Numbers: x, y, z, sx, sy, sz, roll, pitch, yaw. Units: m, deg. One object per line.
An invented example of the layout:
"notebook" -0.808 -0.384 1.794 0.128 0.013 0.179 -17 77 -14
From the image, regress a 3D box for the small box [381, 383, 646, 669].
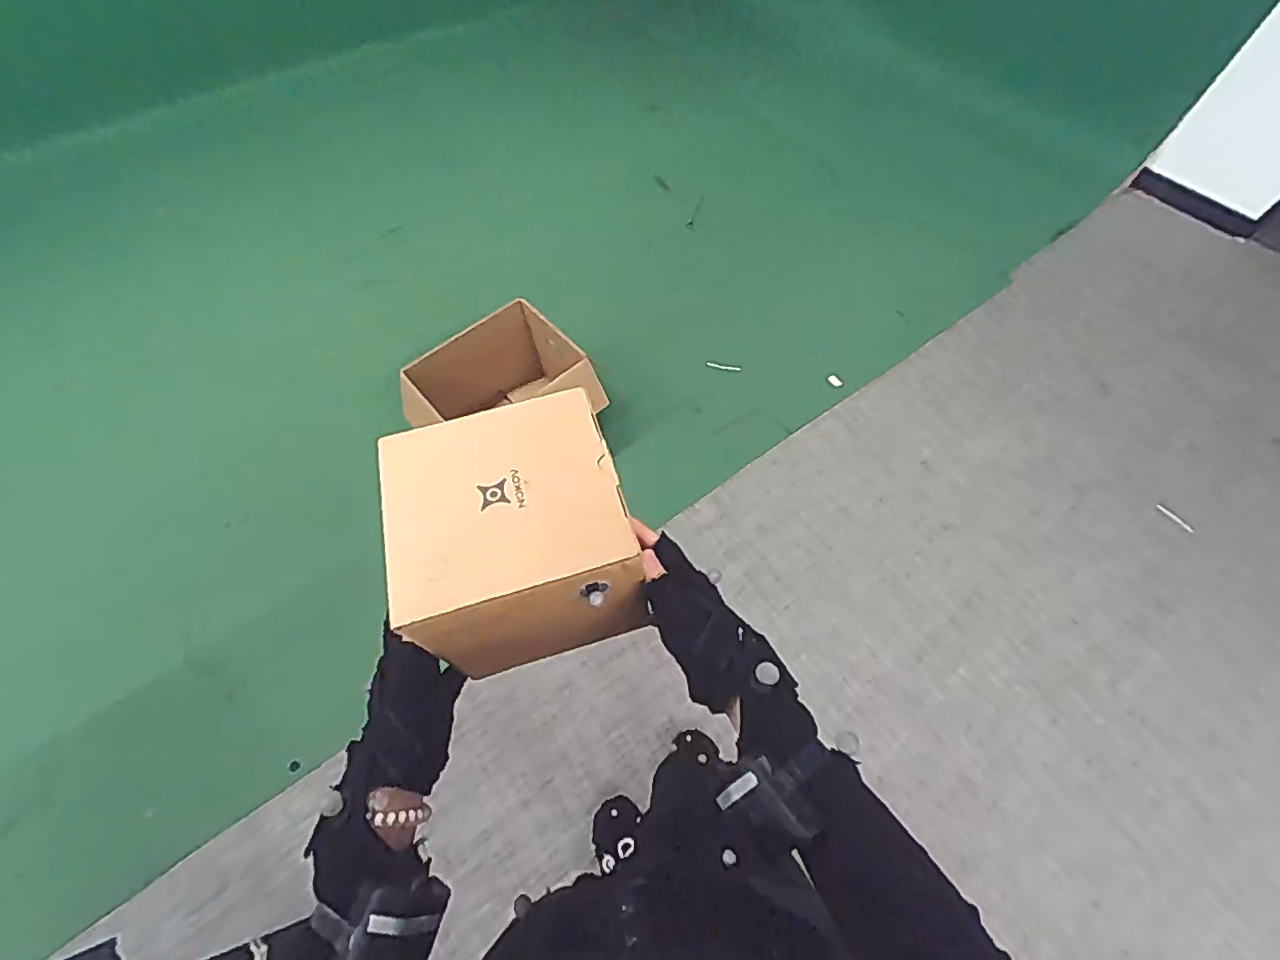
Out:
"small box" -0.101 0.048 0.474 0.179 0.176 0.168 -16 59 -7
